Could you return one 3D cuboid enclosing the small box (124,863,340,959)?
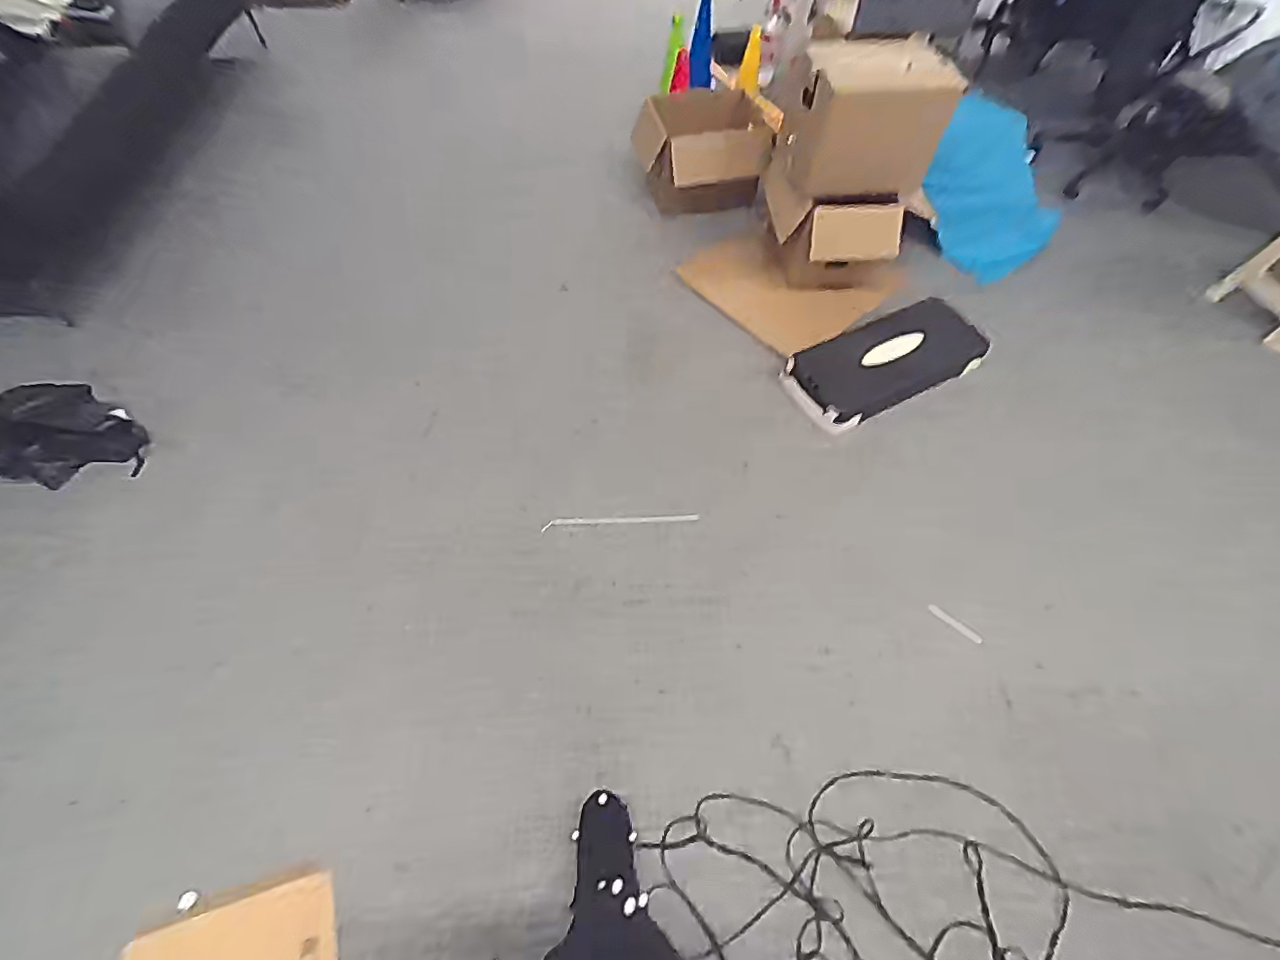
[{"bbox_3d":[-0.416,0.527,0.562,0.176,0.179,0.168,0,63,-36],"label":"small box"}]
